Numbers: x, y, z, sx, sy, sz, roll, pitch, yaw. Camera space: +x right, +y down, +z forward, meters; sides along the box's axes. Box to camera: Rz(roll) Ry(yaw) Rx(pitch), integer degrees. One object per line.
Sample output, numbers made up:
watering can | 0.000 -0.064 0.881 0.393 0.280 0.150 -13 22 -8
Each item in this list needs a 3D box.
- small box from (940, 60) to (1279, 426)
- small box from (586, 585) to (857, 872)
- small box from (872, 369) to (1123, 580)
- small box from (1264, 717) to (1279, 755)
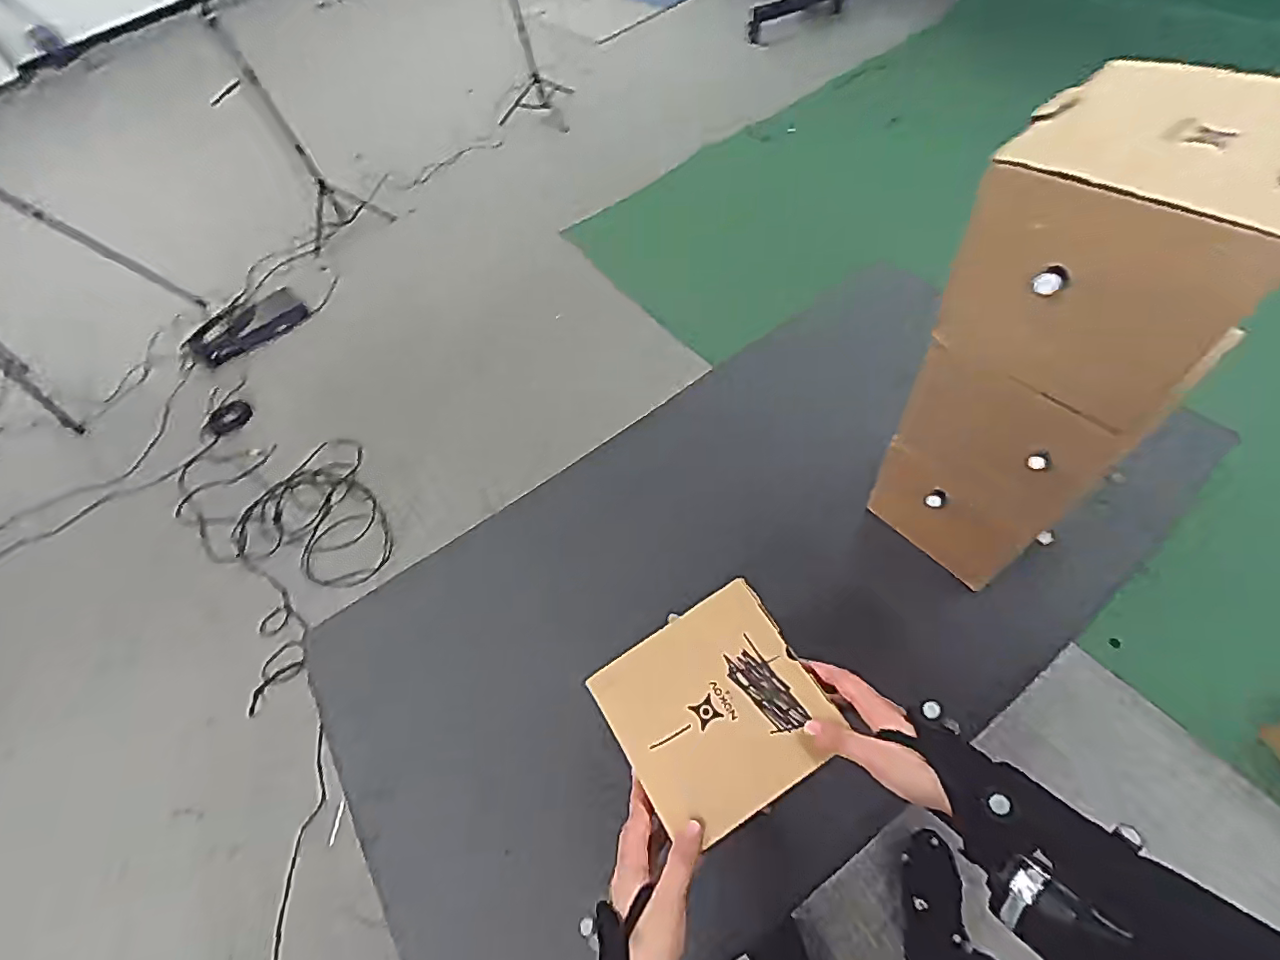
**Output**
small box | 0.366 -0.173 0.406 0.168 0.176 0.179 -40 58 -14
small box | 0.073 0.229 0.531 0.179 0.176 0.168 -32 67 -5
small box | 0.424 0.003 0.677 0.168 0.176 0.179 -36 57 -12
small box | 1.388 0.519 1.037 0.179 0.176 0.168 -22 57 -4
